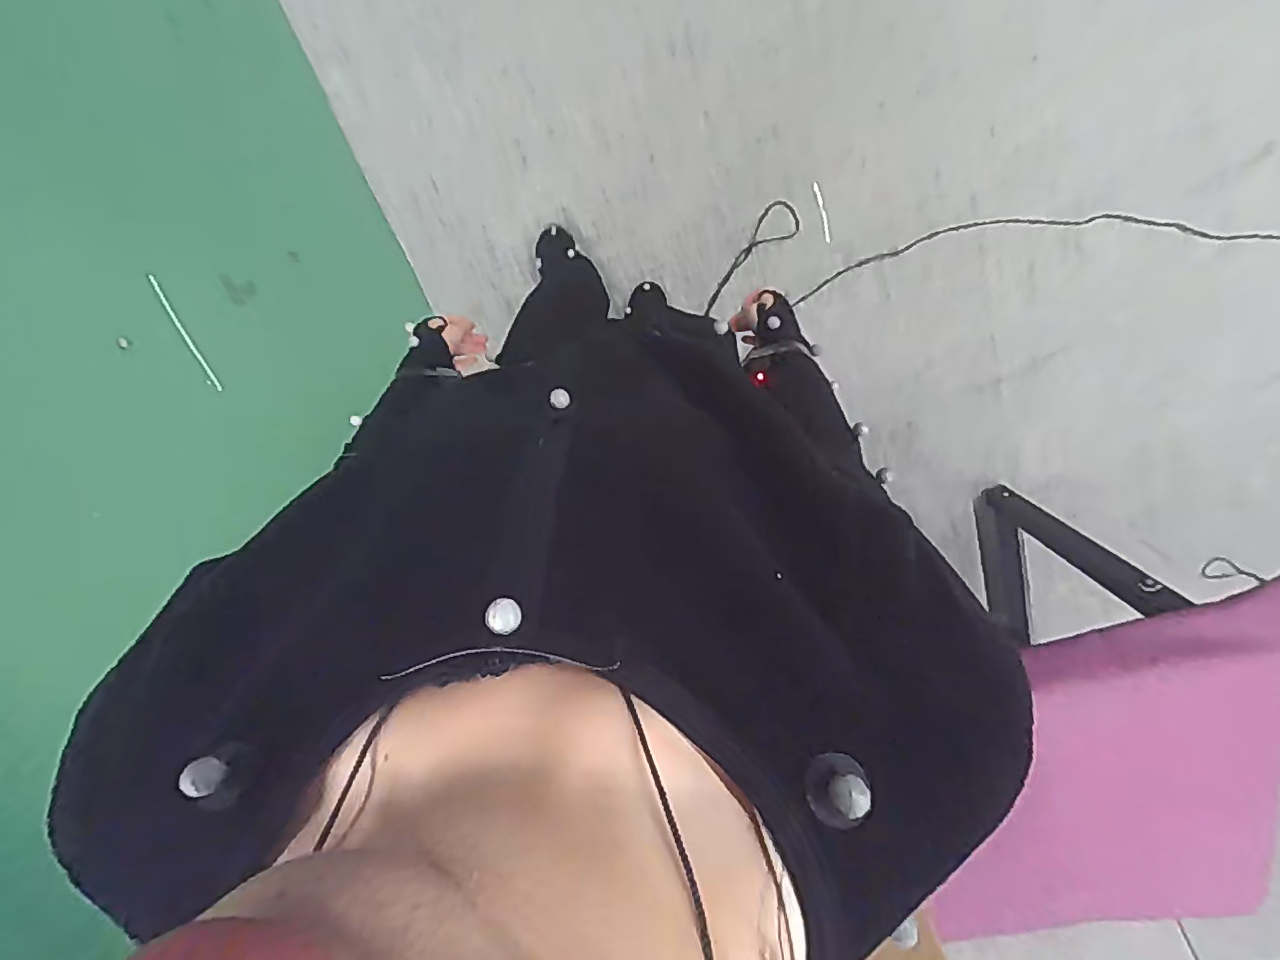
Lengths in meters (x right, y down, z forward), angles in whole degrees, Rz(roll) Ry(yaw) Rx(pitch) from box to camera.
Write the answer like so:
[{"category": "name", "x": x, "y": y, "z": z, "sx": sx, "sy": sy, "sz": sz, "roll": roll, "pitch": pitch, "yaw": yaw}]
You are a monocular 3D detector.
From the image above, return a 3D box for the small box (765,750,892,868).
[{"category": "small box", "x": 0.324, "y": 0.592, "z": 0.898, "sx": 0.168, "sy": 0.176, "sz": 0.179, "roll": -23, "pitch": 109, "yaw": 10}]

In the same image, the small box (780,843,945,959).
[{"category": "small box", "x": 0.296, "y": 0.637, "z": 0.740, "sx": 0.179, "sy": 0.176, "sz": 0.168, "roll": -10, "pitch": 112, "yaw": 4}]
